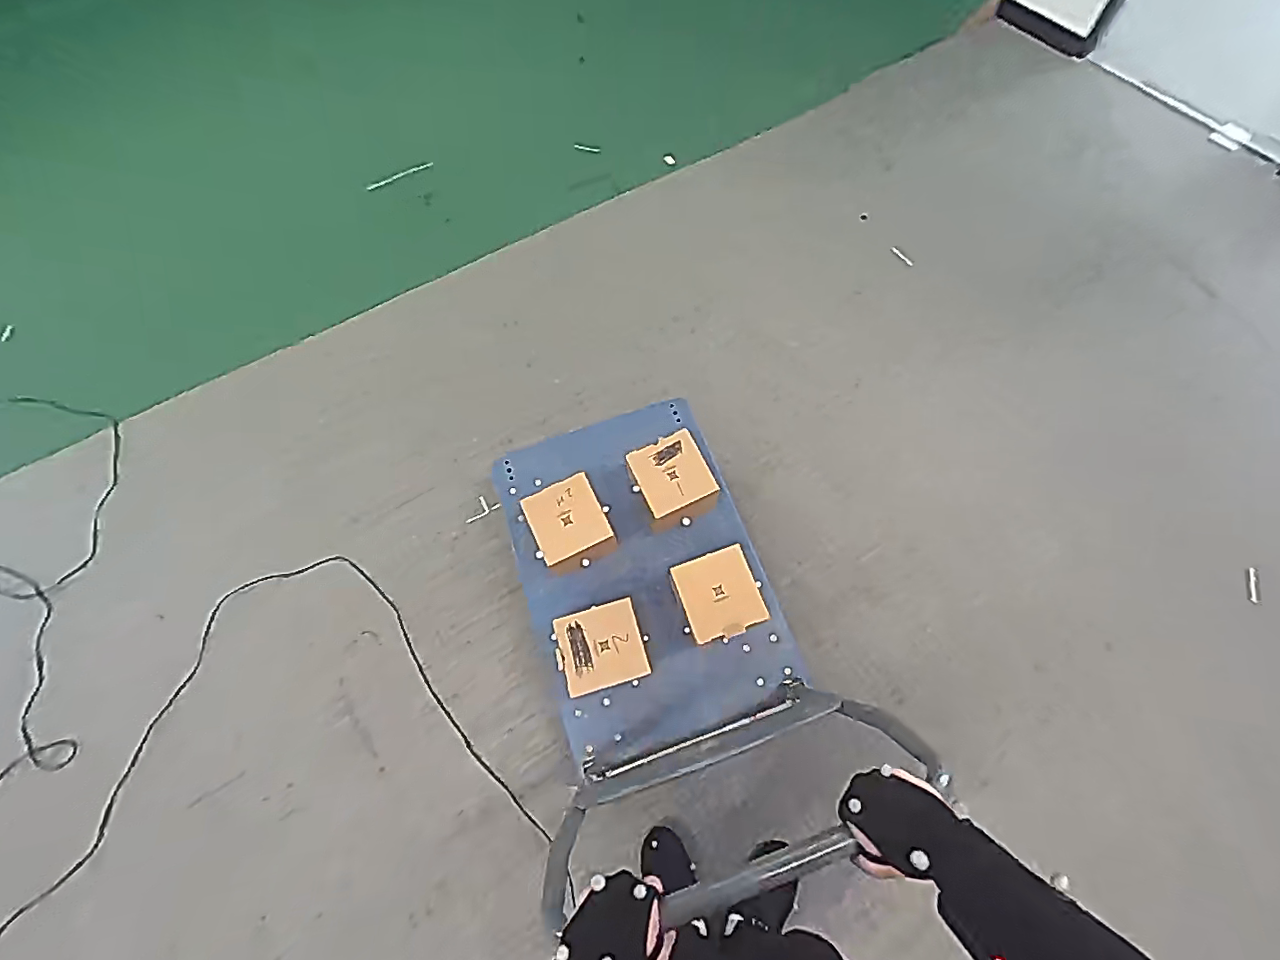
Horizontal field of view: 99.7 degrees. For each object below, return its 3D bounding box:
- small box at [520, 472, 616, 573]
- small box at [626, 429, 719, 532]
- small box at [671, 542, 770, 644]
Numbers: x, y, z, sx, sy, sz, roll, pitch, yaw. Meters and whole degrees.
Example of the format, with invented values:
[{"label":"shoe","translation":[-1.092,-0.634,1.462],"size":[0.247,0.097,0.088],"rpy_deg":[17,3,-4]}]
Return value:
[{"label":"small box","translation":[-0.166,0.112,1.312],"size":[0.168,0.176,0.179],"rpy_deg":[-25,71,-7]},{"label":"small box","translation":[0.076,0.006,1.340],"size":[0.168,0.176,0.179],"rpy_deg":[-25,72,-6]},{"label":"small box","translation":[0.175,0.266,1.245],"size":[0.168,0.176,0.179],"rpy_deg":[-20,72,-5]}]
